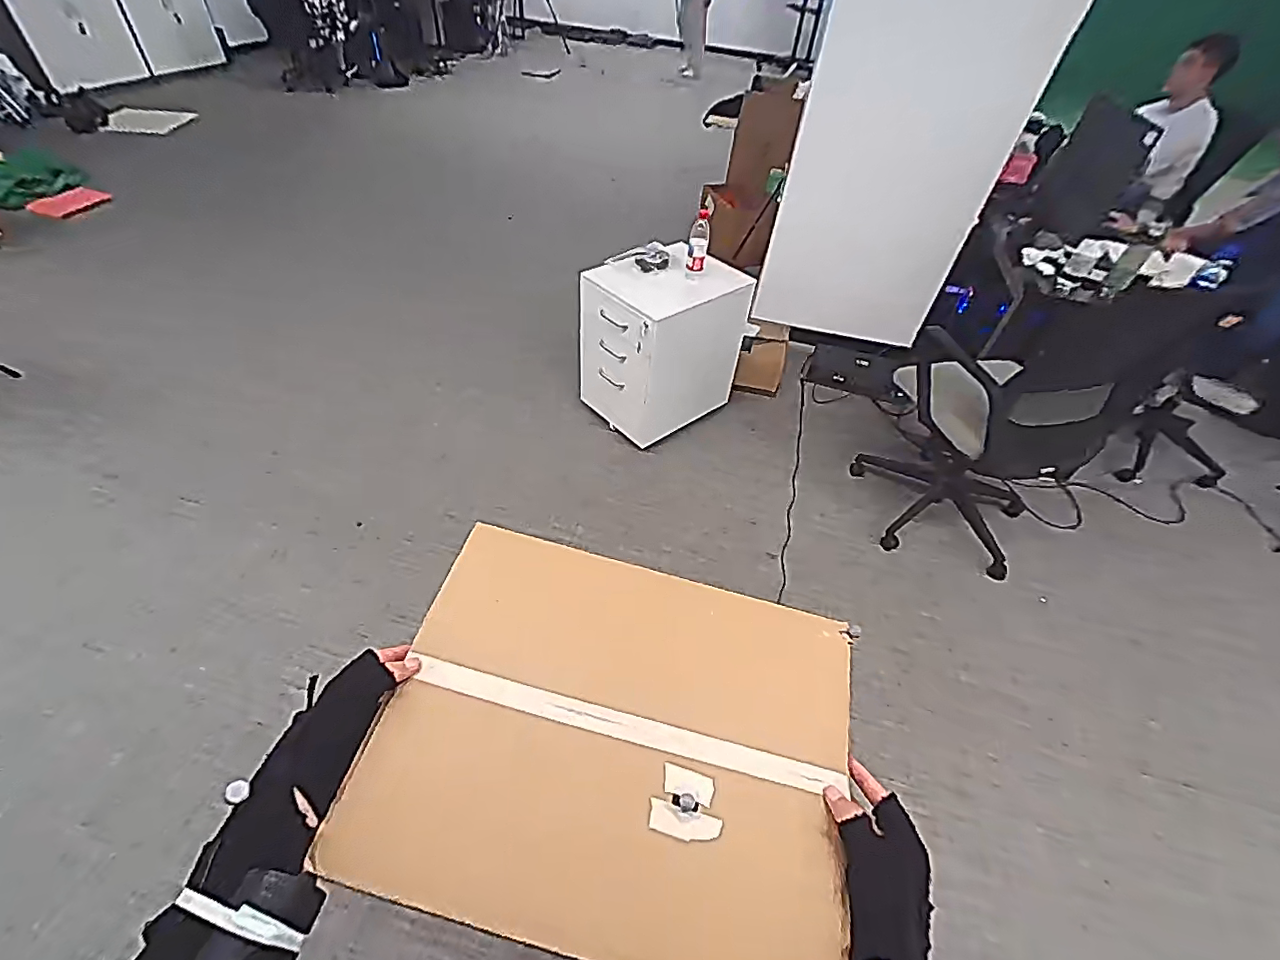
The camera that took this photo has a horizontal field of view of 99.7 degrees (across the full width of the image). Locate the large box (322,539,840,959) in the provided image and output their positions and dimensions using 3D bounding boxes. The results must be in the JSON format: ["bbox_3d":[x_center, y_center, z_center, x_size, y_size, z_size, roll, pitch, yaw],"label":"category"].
[{"bbox_3d":[-0.037,0.315,0.603,0.408,0.320,0.320,16,53,2],"label":"large box"}]
